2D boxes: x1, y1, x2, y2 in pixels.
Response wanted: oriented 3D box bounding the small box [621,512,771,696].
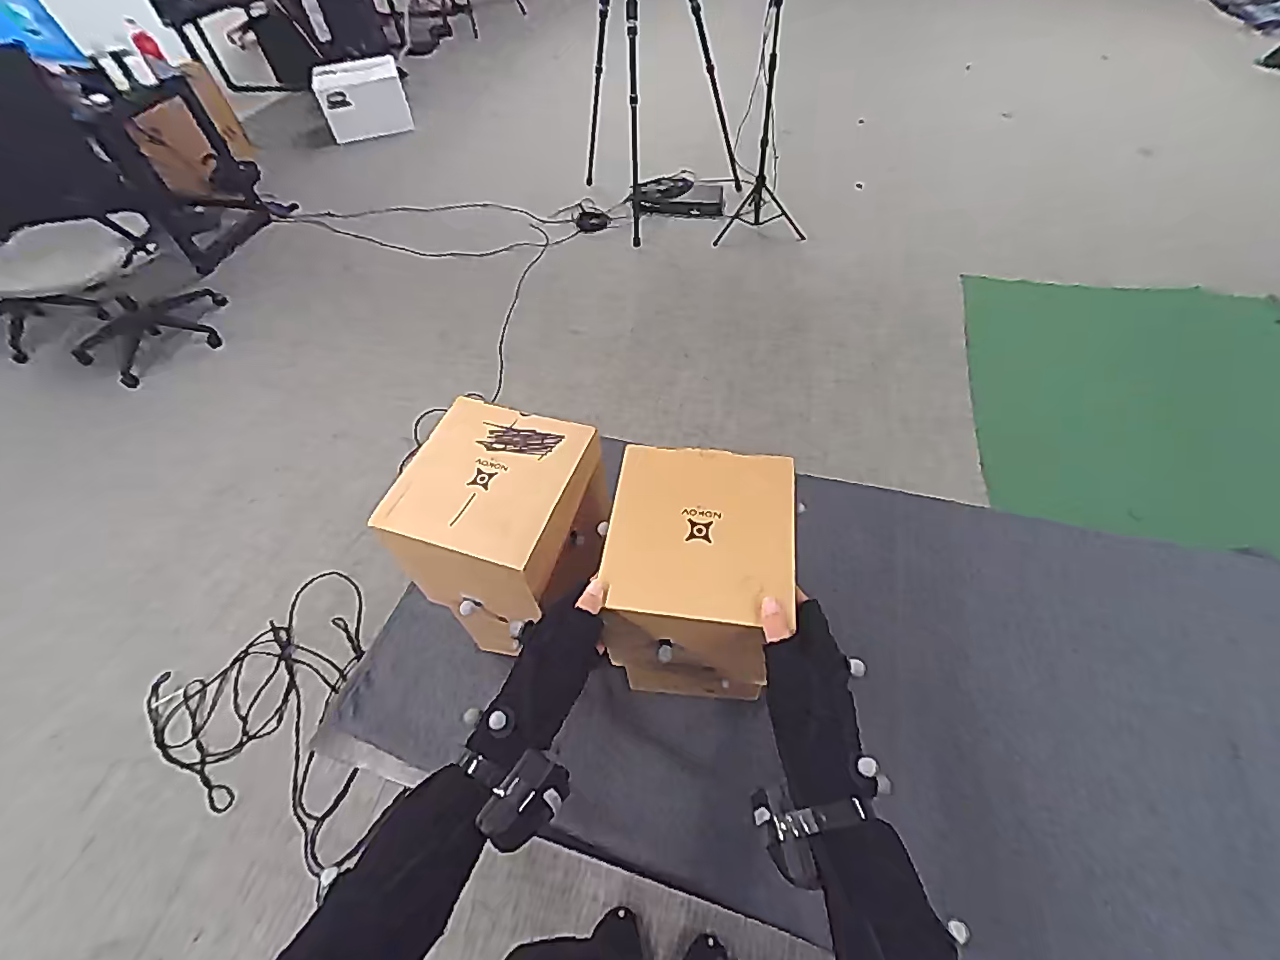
[{"bbox_3d":[0.073,0.162,0.692,0.168,0.176,0.179,3,52,6],"label":"small box"}]
